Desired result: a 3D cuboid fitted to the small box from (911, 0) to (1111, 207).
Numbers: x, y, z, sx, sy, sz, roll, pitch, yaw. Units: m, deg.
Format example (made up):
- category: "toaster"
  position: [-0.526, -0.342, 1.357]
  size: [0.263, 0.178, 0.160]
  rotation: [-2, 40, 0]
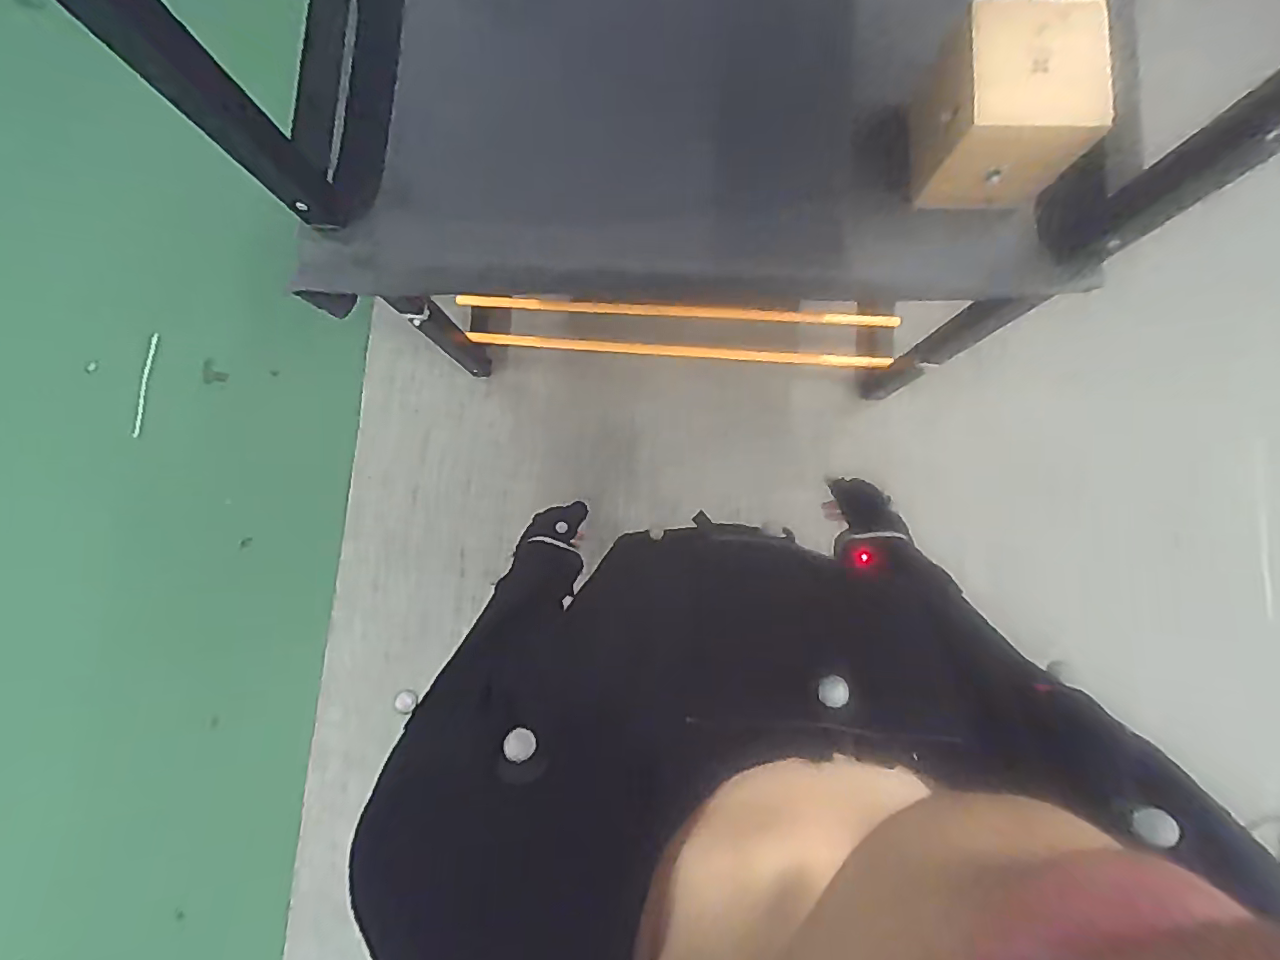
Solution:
- category: "small box"
  position: [0.491, -0.501, 0.741]
  size: [0.168, 0.176, 0.179]
  rotation: [2, 83, 2]
